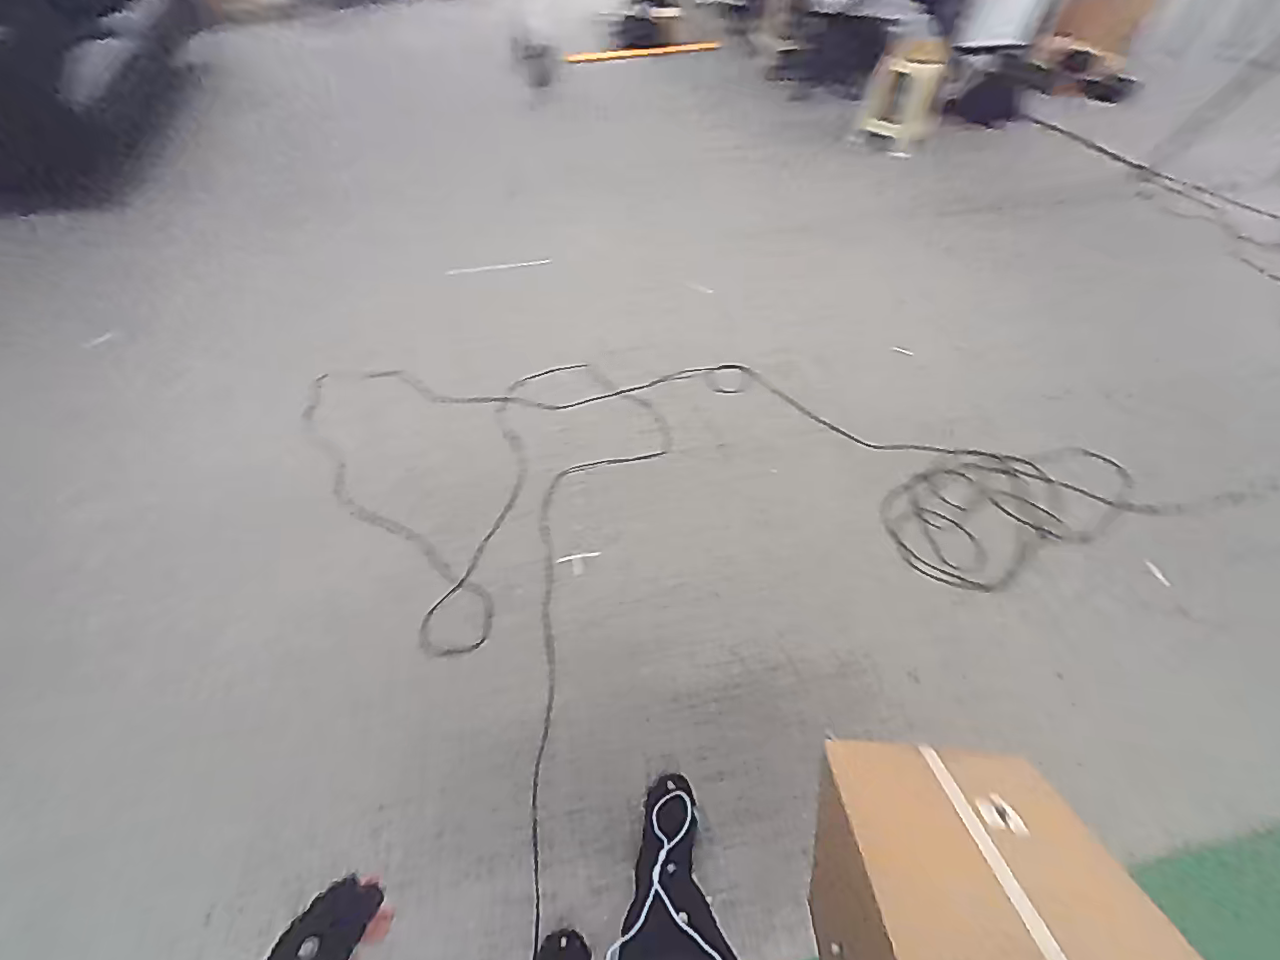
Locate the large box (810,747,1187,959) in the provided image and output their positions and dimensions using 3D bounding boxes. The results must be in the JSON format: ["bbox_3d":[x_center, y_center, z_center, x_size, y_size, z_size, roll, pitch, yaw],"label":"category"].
[{"bbox_3d":[0.425,0.624,0.706,0.320,0.320,0.408,3,9,6],"label":"large box"}]
